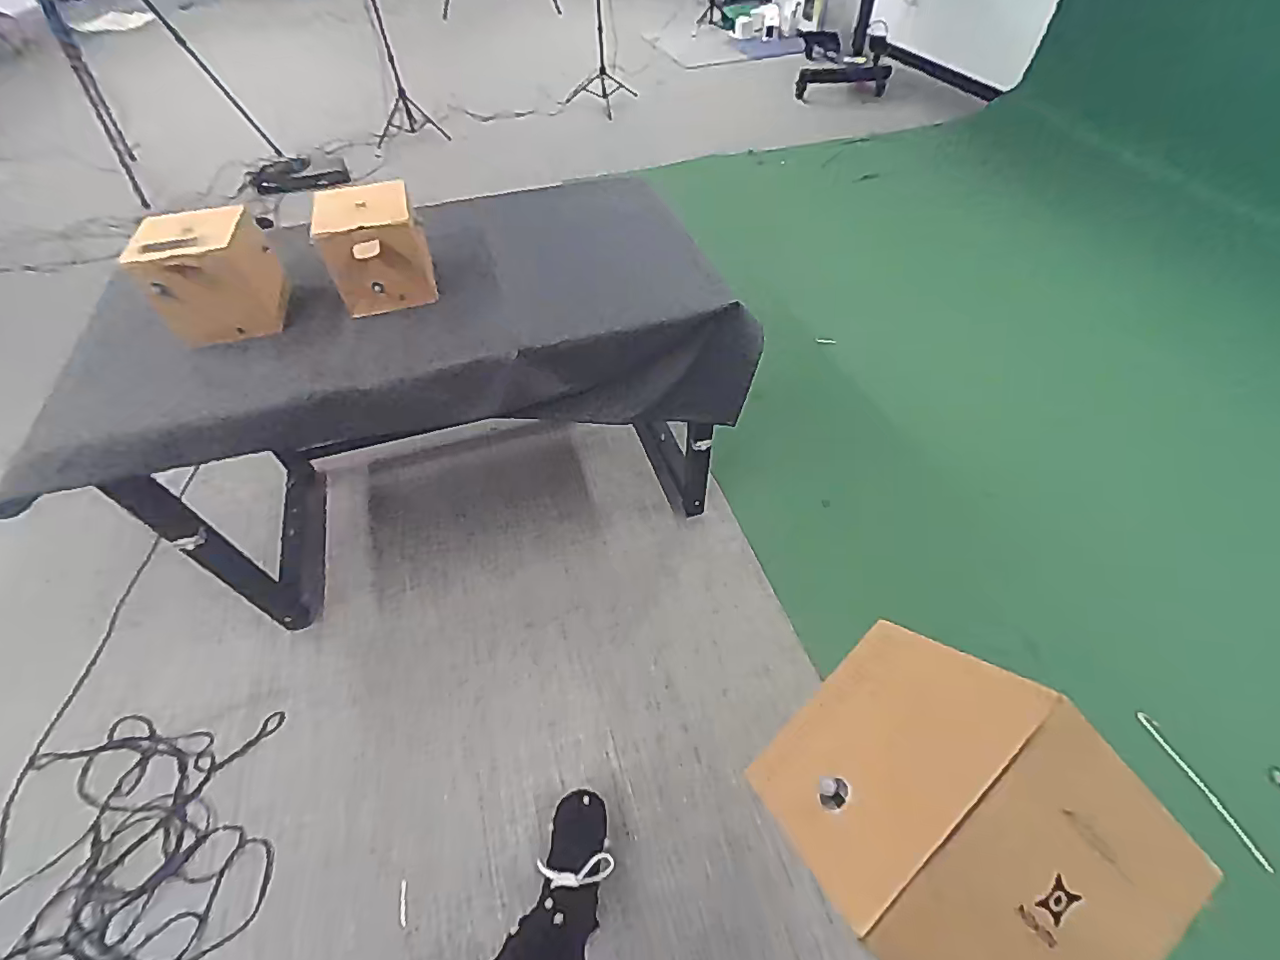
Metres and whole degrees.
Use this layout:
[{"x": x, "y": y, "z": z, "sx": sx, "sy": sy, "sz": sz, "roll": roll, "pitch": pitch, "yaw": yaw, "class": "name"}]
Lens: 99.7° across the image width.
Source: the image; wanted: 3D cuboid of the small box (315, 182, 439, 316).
[{"x": -0.501, "y": -0.446, "z": 1.047, "sx": 0.168, "sy": 0.176, "sz": 0.179, "roll": -15, "pitch": 53, "yaw": -11, "class": "small box"}]

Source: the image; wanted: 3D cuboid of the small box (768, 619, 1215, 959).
[{"x": 0.215, "y": 0.230, "z": 0.382, "sx": 0.179, "sy": 0.176, "sz": 0.168, "roll": -45, "pitch": 98, "yaw": -8, "class": "small box"}]
